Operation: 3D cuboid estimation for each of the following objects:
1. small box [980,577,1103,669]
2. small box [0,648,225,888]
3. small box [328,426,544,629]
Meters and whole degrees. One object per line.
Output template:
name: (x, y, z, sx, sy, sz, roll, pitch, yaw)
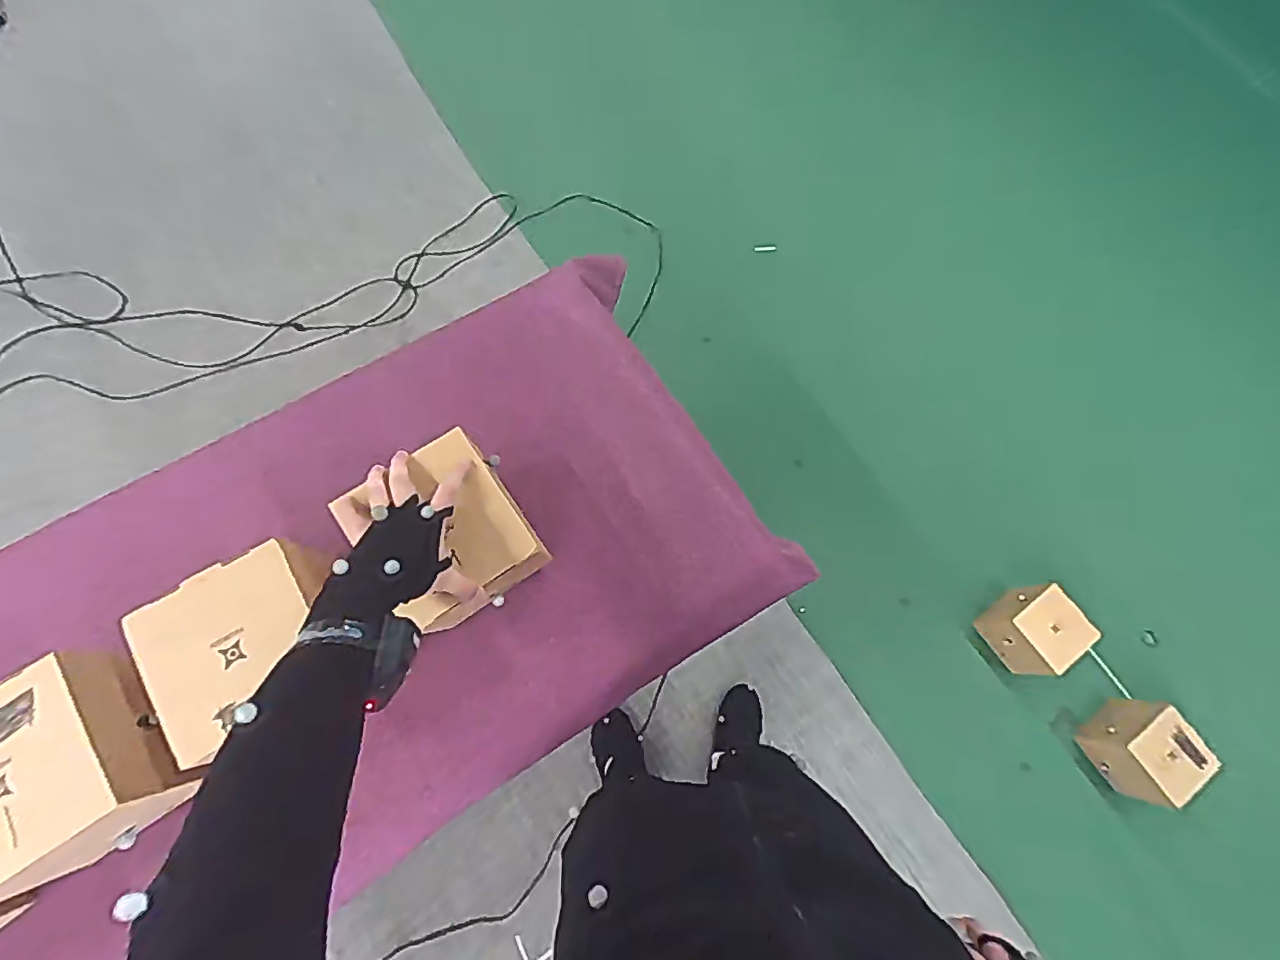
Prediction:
small box: (1.058, 0.386, 1.448, 0.179, 0.176, 0.168, -33, 77, -14)
small box: (-0.621, 0.308, 0.598, 0.168, 0.176, 0.179, -34, 79, -13)
small box: (-0.239, 0.065, 0.676, 0.168, 0.176, 0.179, -34, 83, -9)
